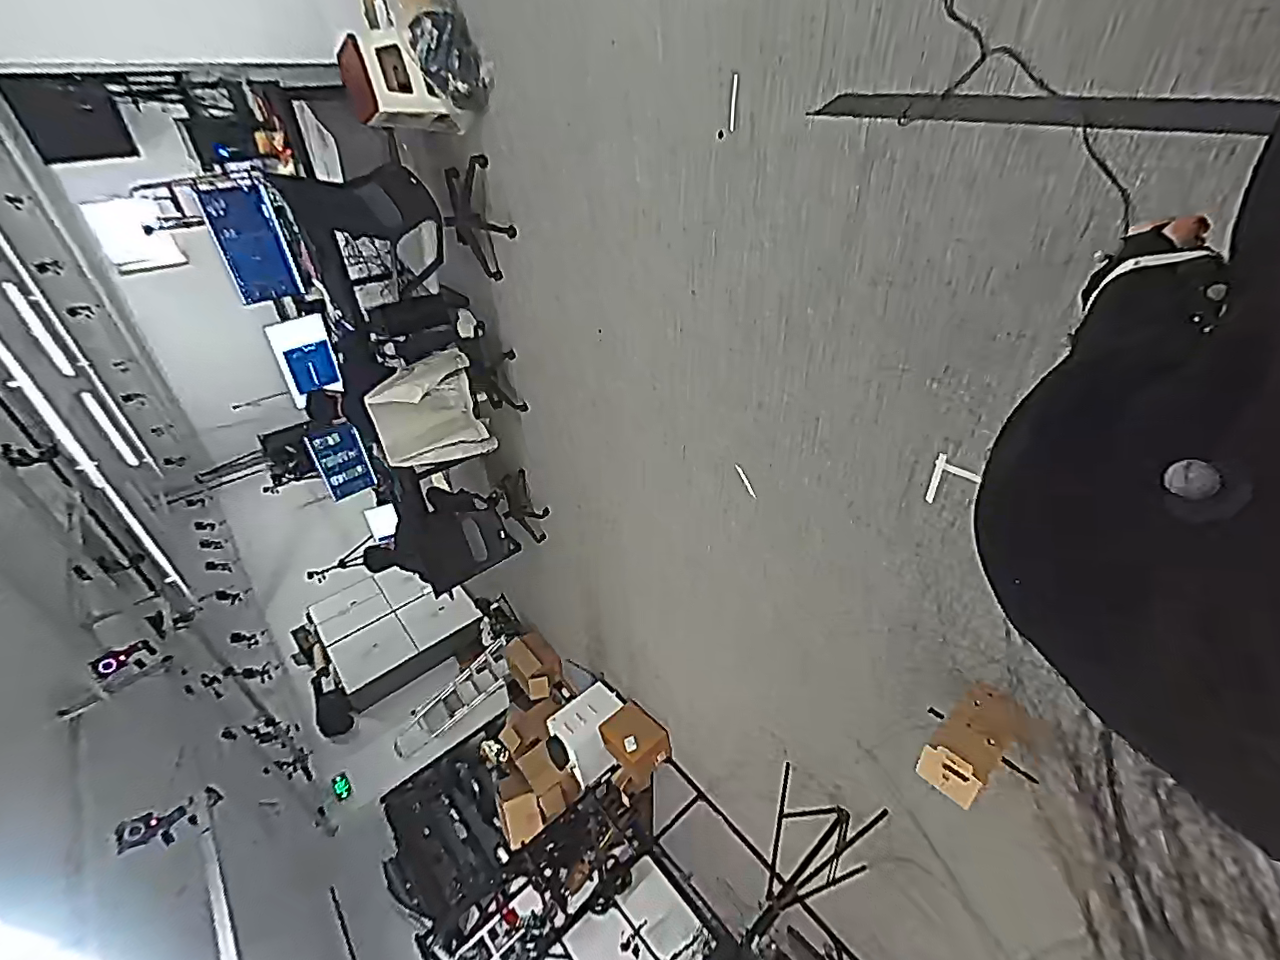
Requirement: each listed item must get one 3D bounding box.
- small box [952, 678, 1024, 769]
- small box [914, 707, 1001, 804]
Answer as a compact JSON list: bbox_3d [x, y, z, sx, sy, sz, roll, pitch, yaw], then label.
[{"bbox_3d":[1.123,0.789,1.771,0.168,0.176,0.179,31,139,42],"label":"small box"},{"bbox_3d":[0.995,0.855,1.690,0.168,0.176,0.179,31,139,41],"label":"small box"}]
